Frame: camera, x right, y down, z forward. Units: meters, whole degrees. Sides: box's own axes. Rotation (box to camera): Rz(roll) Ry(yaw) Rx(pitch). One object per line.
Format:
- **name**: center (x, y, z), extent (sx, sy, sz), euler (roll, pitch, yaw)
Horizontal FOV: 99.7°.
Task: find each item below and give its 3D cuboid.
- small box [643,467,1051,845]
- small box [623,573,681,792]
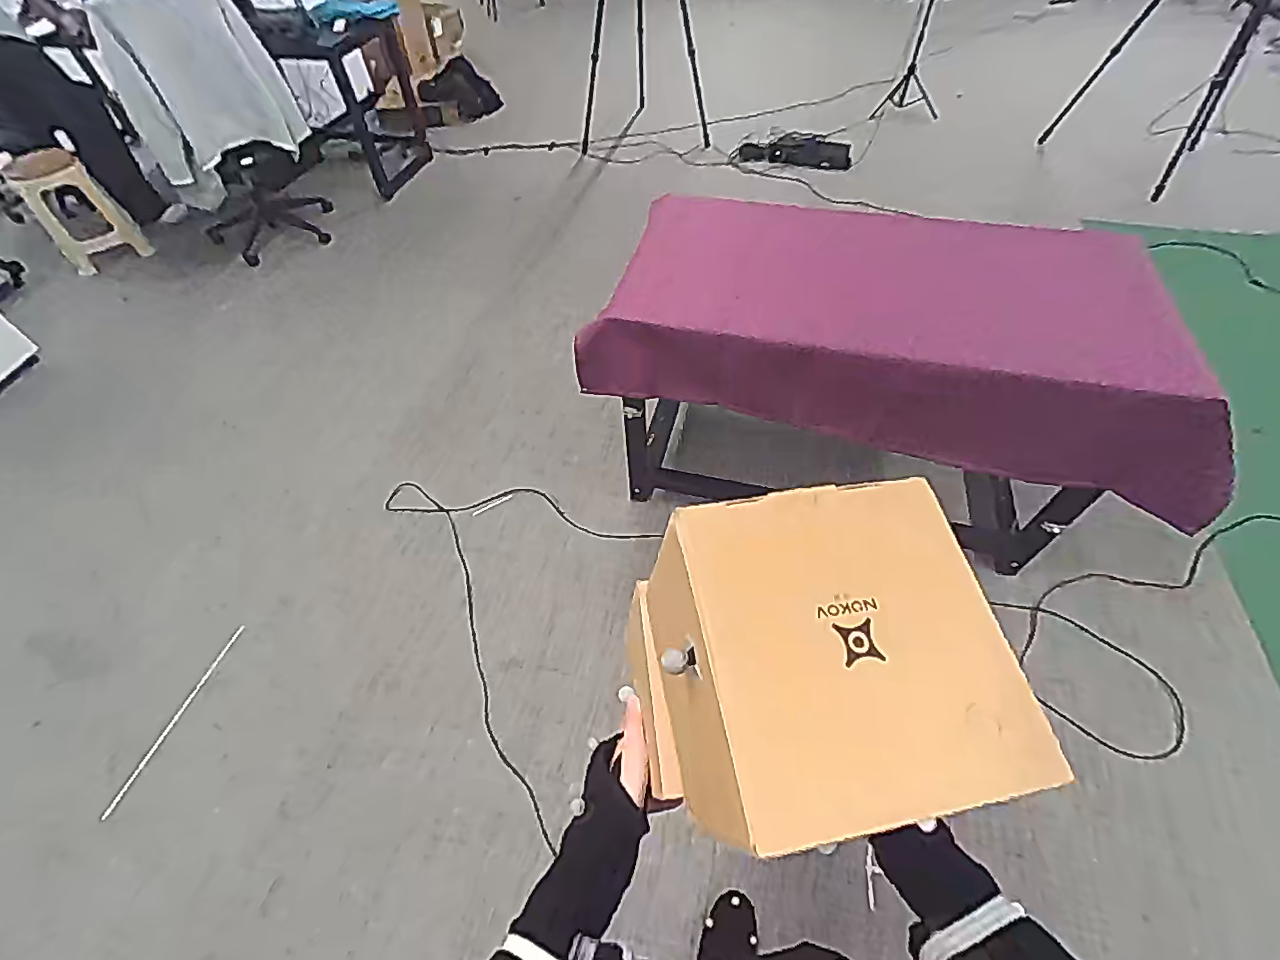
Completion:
- **small box**: center (0.100, 0.115, 0.359), extent (0.168, 0.176, 0.179), euler (-8, 61, -9)
- **small box**: center (0.081, 0.184, 0.505), extent (0.179, 0.176, 0.168), euler (-5, 61, -7)
